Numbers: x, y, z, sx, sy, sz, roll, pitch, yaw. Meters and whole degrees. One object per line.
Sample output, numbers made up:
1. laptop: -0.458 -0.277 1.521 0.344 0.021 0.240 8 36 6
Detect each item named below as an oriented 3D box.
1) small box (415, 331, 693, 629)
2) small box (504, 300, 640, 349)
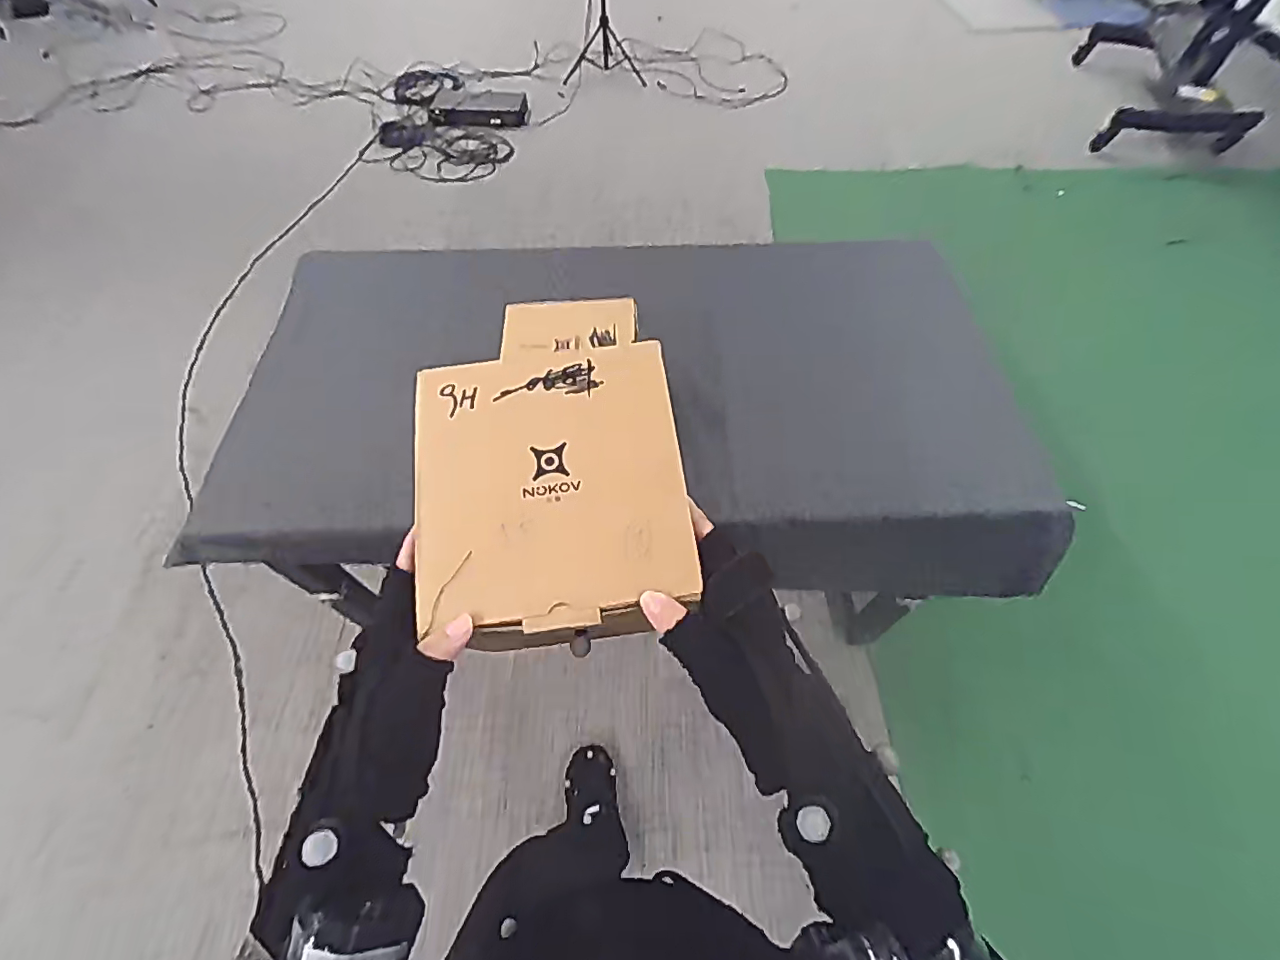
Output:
1. small box: -0.055 0.016 0.412 0.168 0.176 0.179 -7 71 -1
2. small box: -0.086 -0.128 0.754 0.179 0.176 0.168 -3 58 0
